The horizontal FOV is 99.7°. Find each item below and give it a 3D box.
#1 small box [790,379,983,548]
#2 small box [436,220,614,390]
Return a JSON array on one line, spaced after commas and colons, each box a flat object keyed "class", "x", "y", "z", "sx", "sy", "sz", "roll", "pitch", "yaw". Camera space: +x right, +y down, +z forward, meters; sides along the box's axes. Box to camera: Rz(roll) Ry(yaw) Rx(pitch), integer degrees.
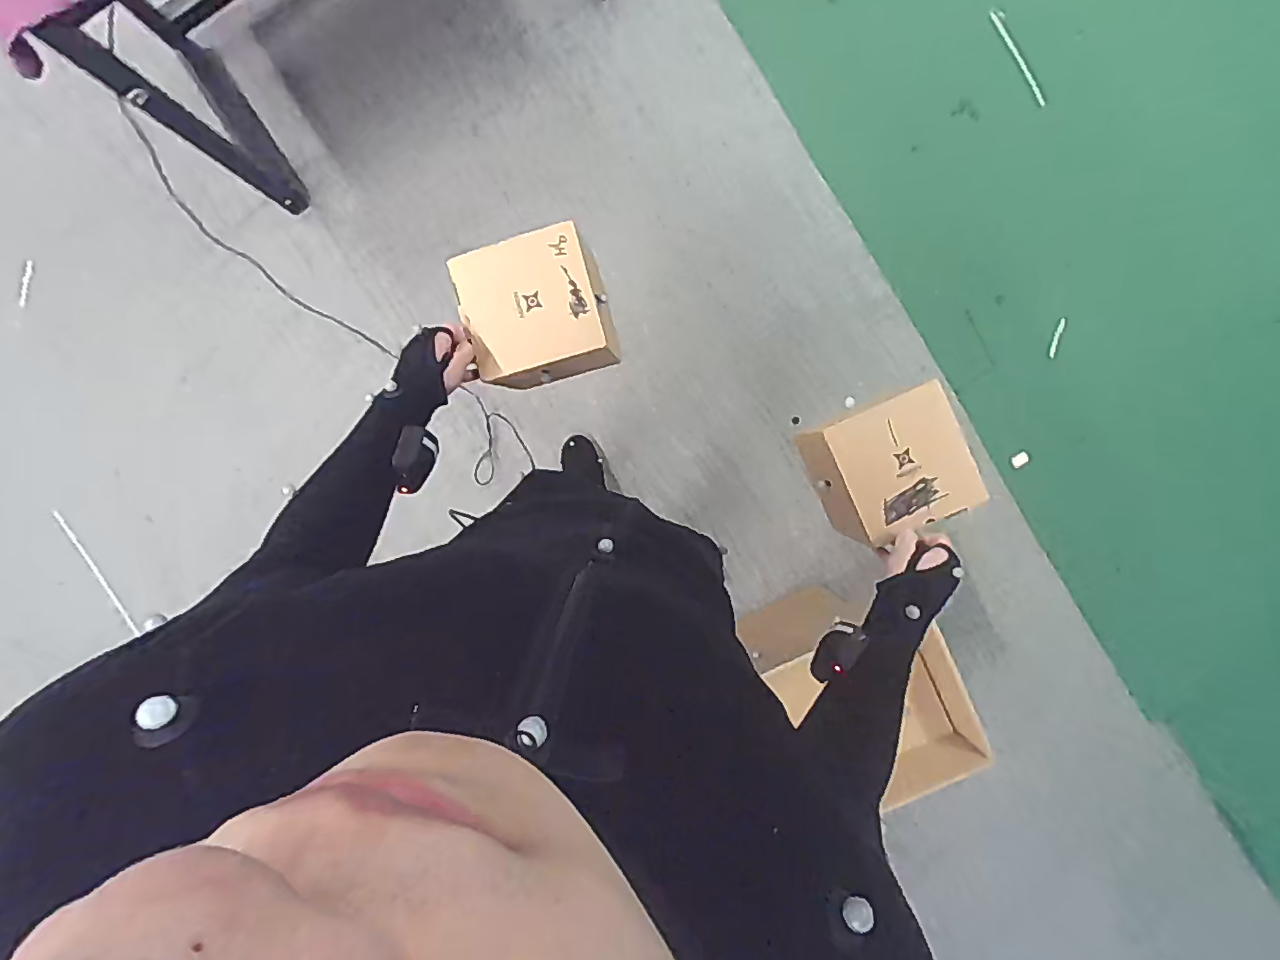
[{"class": "small box", "x": 0.339, "y": -0.026, "z": 0.777, "sx": 0.168, "sy": 0.176, "sz": 0.179, "roll": -25, "pitch": 92, "yaw": 3}, {"class": "small box", "x": -0.150, "y": -0.230, "z": 0.762, "sx": 0.179, "sy": 0.176, "sz": 0.168, "roll": -15, "pitch": 94, "yaw": 7}]
